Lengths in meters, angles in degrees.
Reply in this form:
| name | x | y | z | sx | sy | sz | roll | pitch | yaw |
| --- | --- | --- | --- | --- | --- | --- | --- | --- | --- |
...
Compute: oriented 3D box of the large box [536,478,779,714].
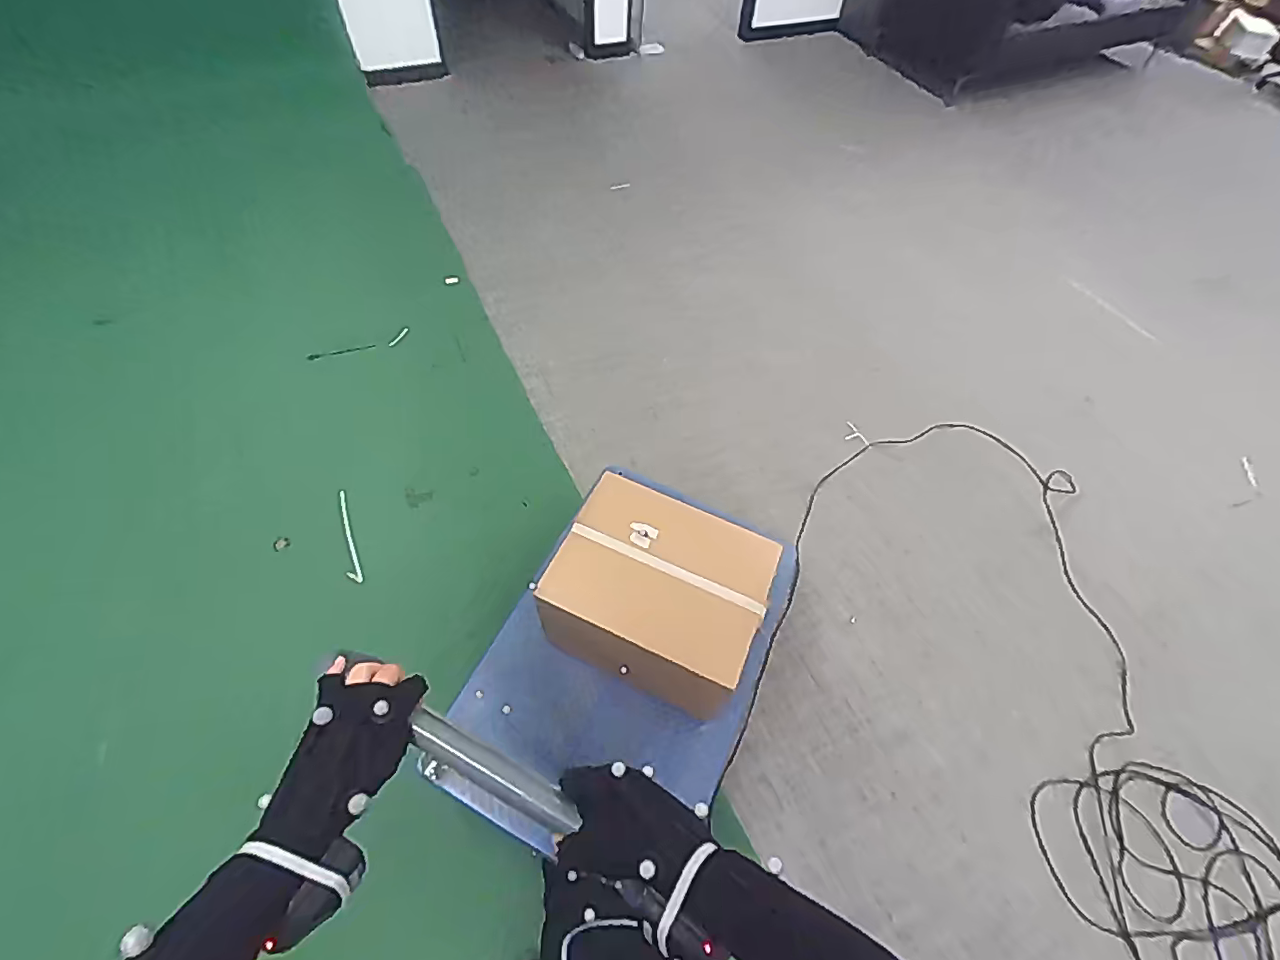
| name | x | y | z | sx | sy | sz | roll | pitch | yaw |
| --- | --- | --- | --- | --- | --- | --- | --- | --- | --- |
| large box | 0.038 | 0.260 | 1.181 | 0.408 | 0.320 | 0.320 | 23 | 58 | 11 |
